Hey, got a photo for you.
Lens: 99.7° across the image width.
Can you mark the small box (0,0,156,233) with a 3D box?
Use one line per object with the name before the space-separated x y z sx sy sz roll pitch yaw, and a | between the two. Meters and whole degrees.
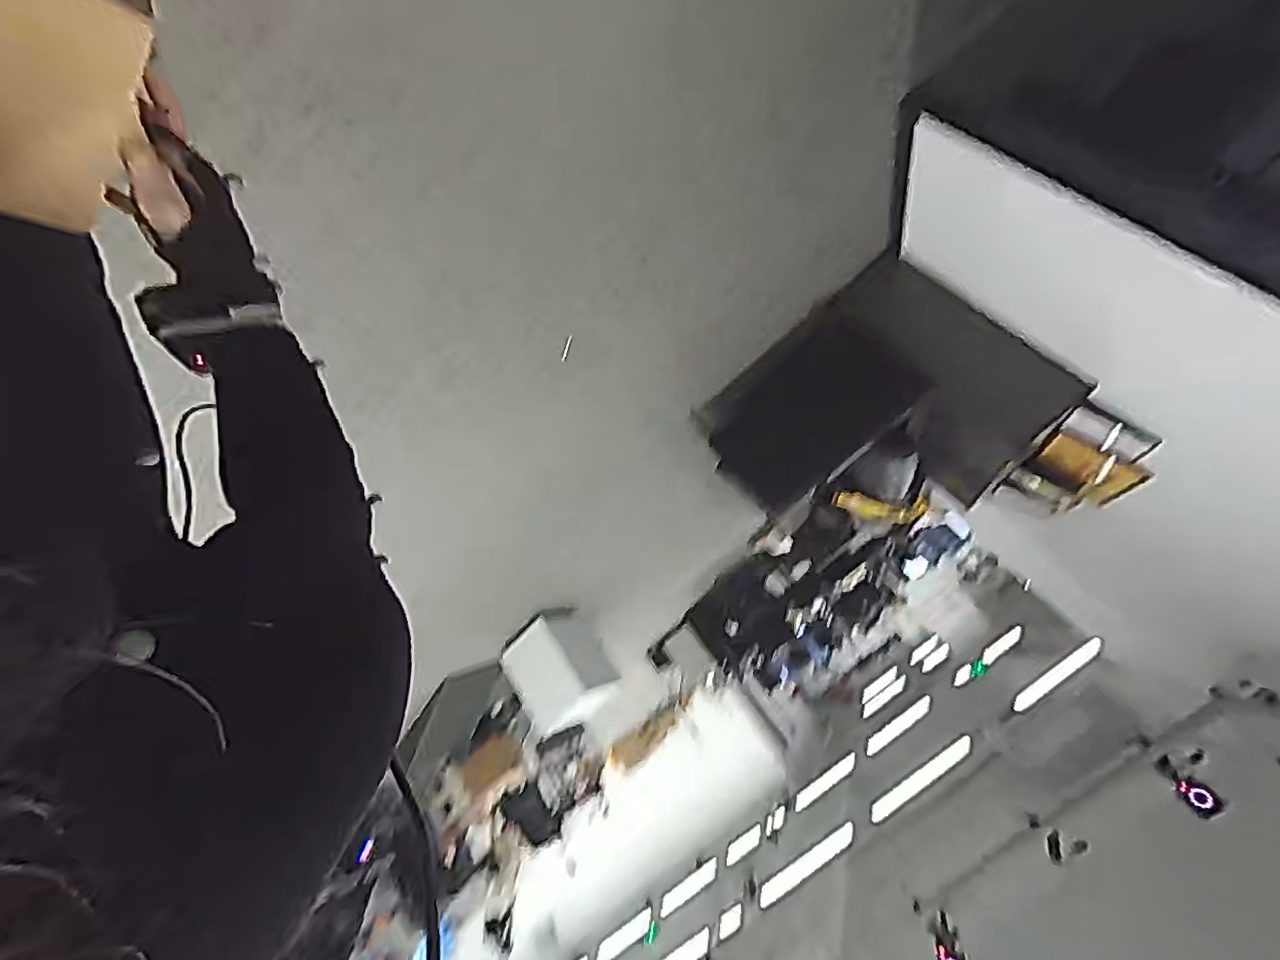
small box | -0.422 -0.292 0.308 0.179 0.176 0.168 -32 163 28
